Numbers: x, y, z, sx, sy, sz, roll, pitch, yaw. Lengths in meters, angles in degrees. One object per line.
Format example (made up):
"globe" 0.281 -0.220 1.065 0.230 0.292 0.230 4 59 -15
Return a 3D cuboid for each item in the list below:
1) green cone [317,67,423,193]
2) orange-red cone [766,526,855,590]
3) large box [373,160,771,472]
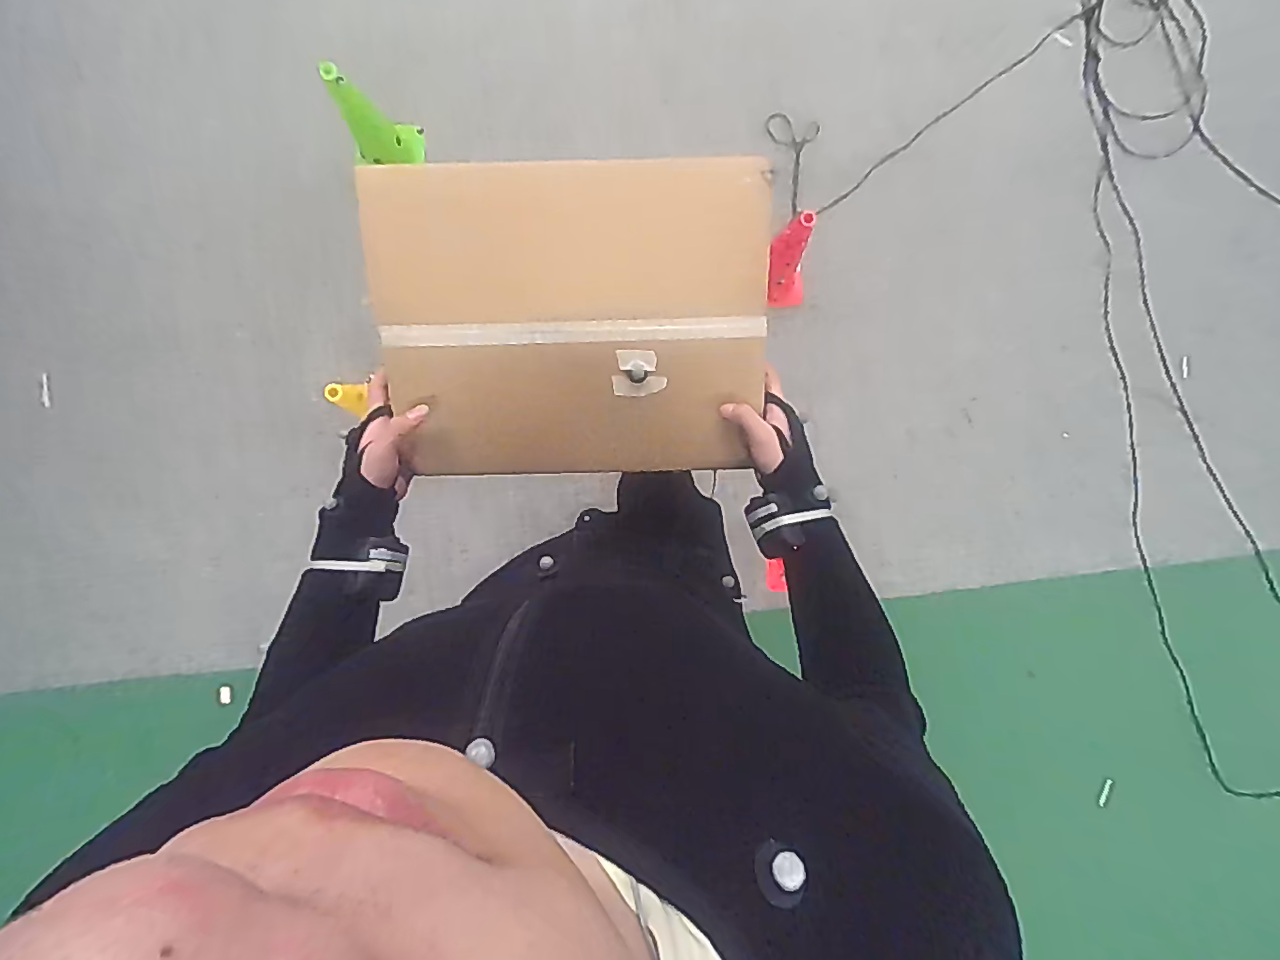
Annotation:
"green cone" -0.743 -0.952 1.436 0.200 0.368 0.202 0 92 -1
"orange-red cone" 0.498 0.243 1.482 0.199 0.360 0.198 1 91 -3
"large box" -0.067 -0.208 0.720 0.408 0.320 0.320 -2 108 -1
